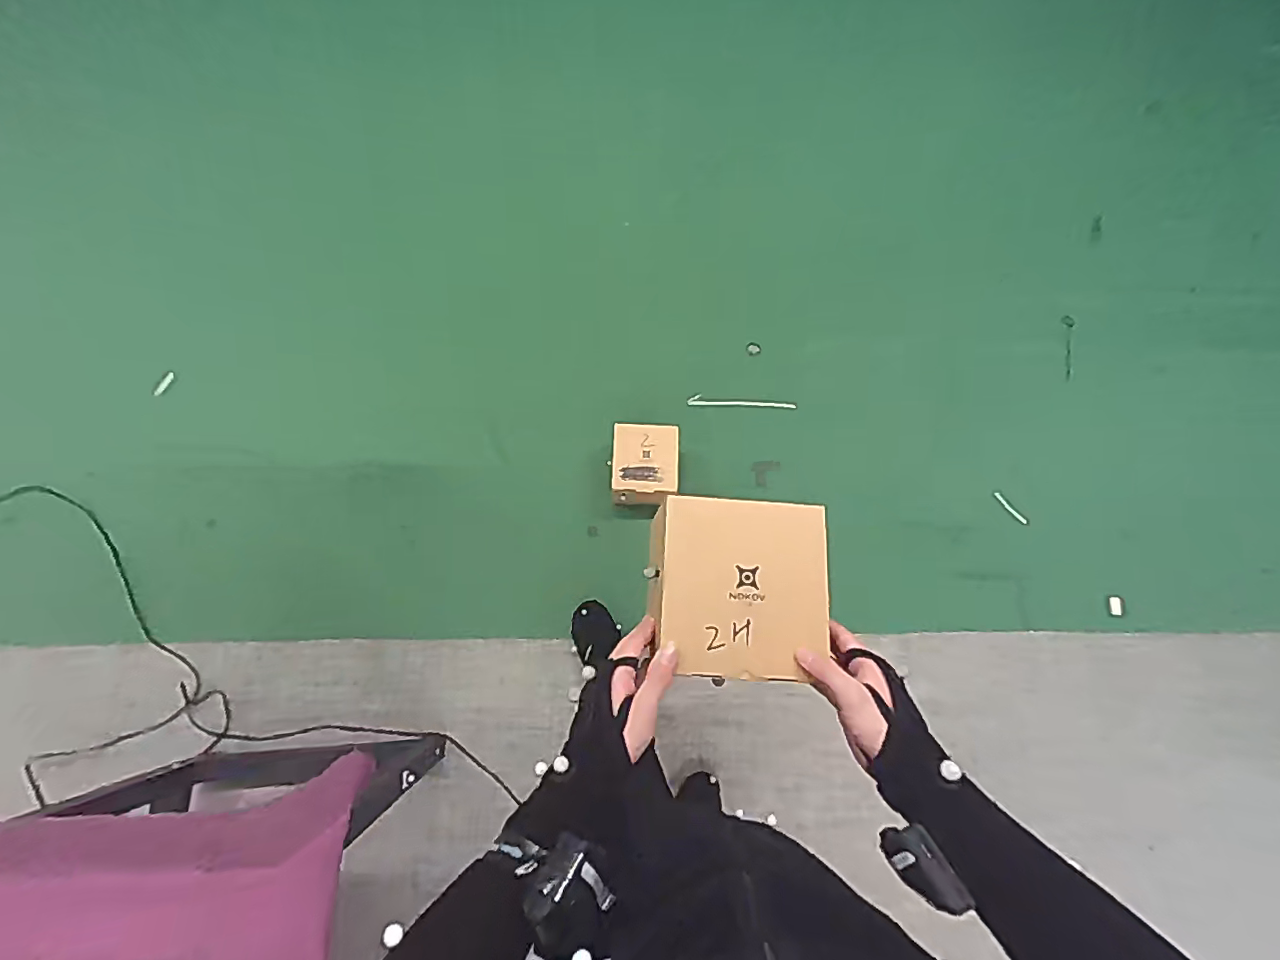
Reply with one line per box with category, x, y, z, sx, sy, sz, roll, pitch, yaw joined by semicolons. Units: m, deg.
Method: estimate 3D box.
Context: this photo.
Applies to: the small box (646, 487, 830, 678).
small box;0.097;0.117;0.603;0.168;0.176;0.179;5;75;-3
